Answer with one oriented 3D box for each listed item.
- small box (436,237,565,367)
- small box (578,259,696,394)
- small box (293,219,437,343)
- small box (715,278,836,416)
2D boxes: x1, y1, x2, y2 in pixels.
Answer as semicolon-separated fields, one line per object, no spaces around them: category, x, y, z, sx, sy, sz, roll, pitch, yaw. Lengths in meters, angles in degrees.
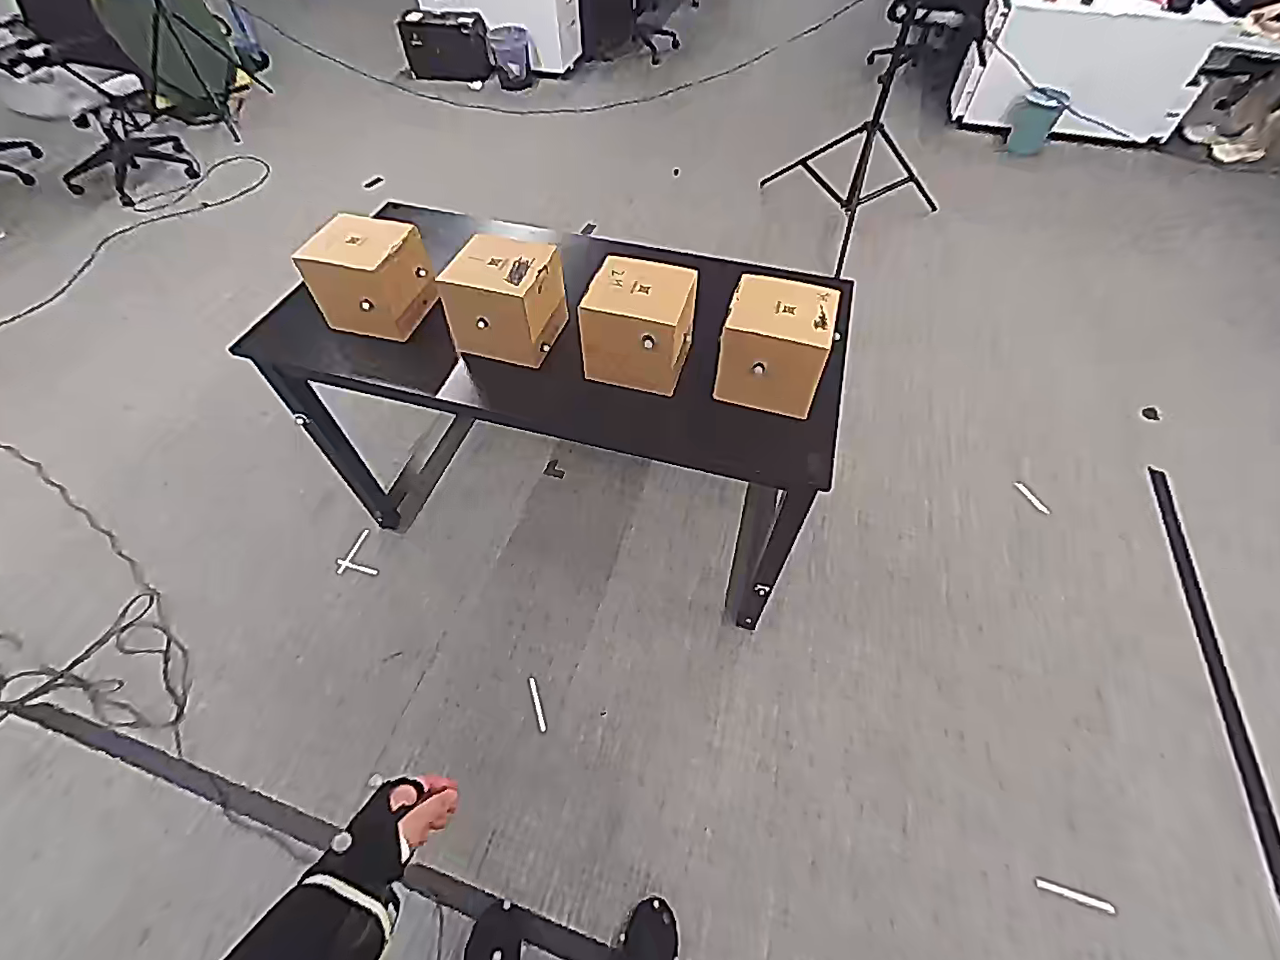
small box;-0.261;-0.345;1.064;0.179;0.176;0.168;13;55;11
small box;-0.002;-0.284;1.019;0.179;0.176;0.168;13;54;9
small box;-0.547;-0.404;1.109;0.179;0.176;0.168;11;54;8
small box;0.241;-0.238;0.986;0.179;0.176;0.168;13;55;11
